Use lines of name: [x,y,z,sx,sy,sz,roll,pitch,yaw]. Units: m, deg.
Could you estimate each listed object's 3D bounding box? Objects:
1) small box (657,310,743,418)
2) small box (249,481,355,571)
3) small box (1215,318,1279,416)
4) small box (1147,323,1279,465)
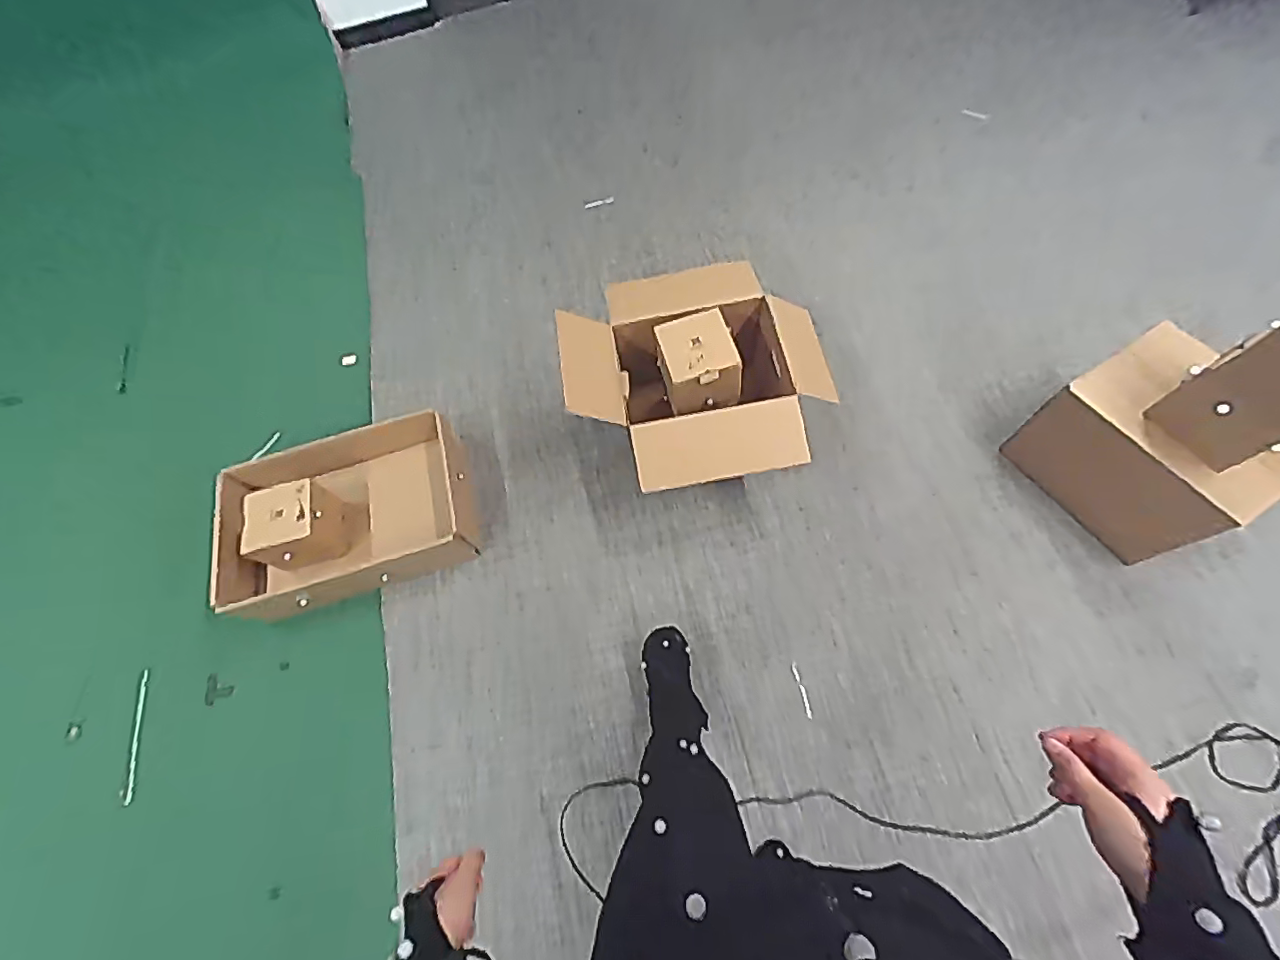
small box: [0.150,-0.286,1.355,0.168,0.176,0.179,-18,65,1]
small box: [-0.890,0.129,1.438,0.179,0.176,0.168,-16,64,-1]
small box: [1.156,-0.216,0.899,0.168,0.176,0.179,-32,66,-6]
small box: [1.168,-0.161,1.053,0.168,0.176,0.179,-32,67,-7]
